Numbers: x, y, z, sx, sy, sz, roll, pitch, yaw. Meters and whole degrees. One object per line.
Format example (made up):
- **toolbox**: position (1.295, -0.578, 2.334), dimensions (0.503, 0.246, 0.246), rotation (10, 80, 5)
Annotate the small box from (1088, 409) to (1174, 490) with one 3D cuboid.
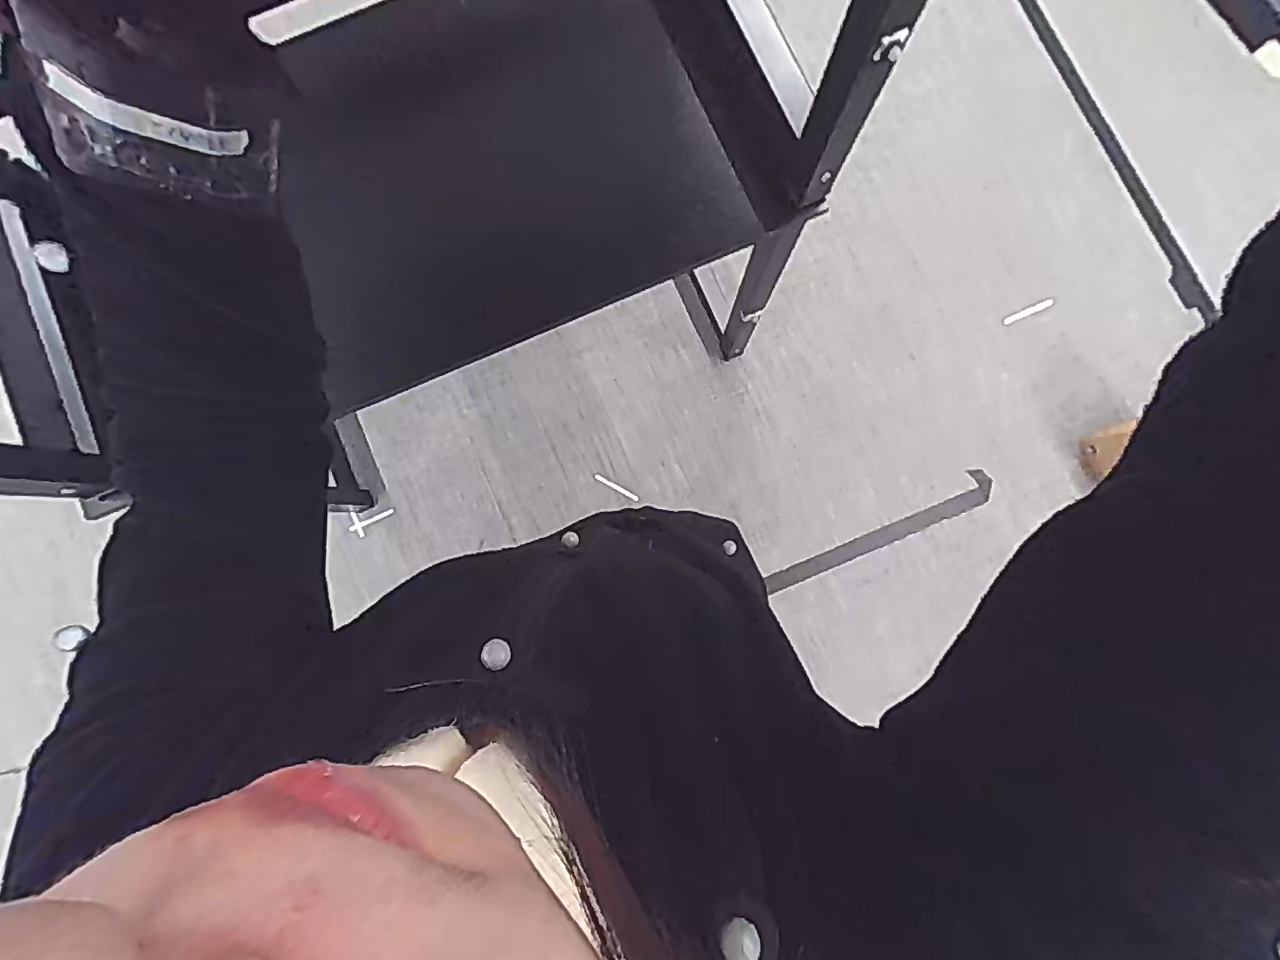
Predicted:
- **small box**: position (1.322, -0.080, 1.406), dimensions (0.179, 0.176, 0.168), rotation (-22, 86, -1)
